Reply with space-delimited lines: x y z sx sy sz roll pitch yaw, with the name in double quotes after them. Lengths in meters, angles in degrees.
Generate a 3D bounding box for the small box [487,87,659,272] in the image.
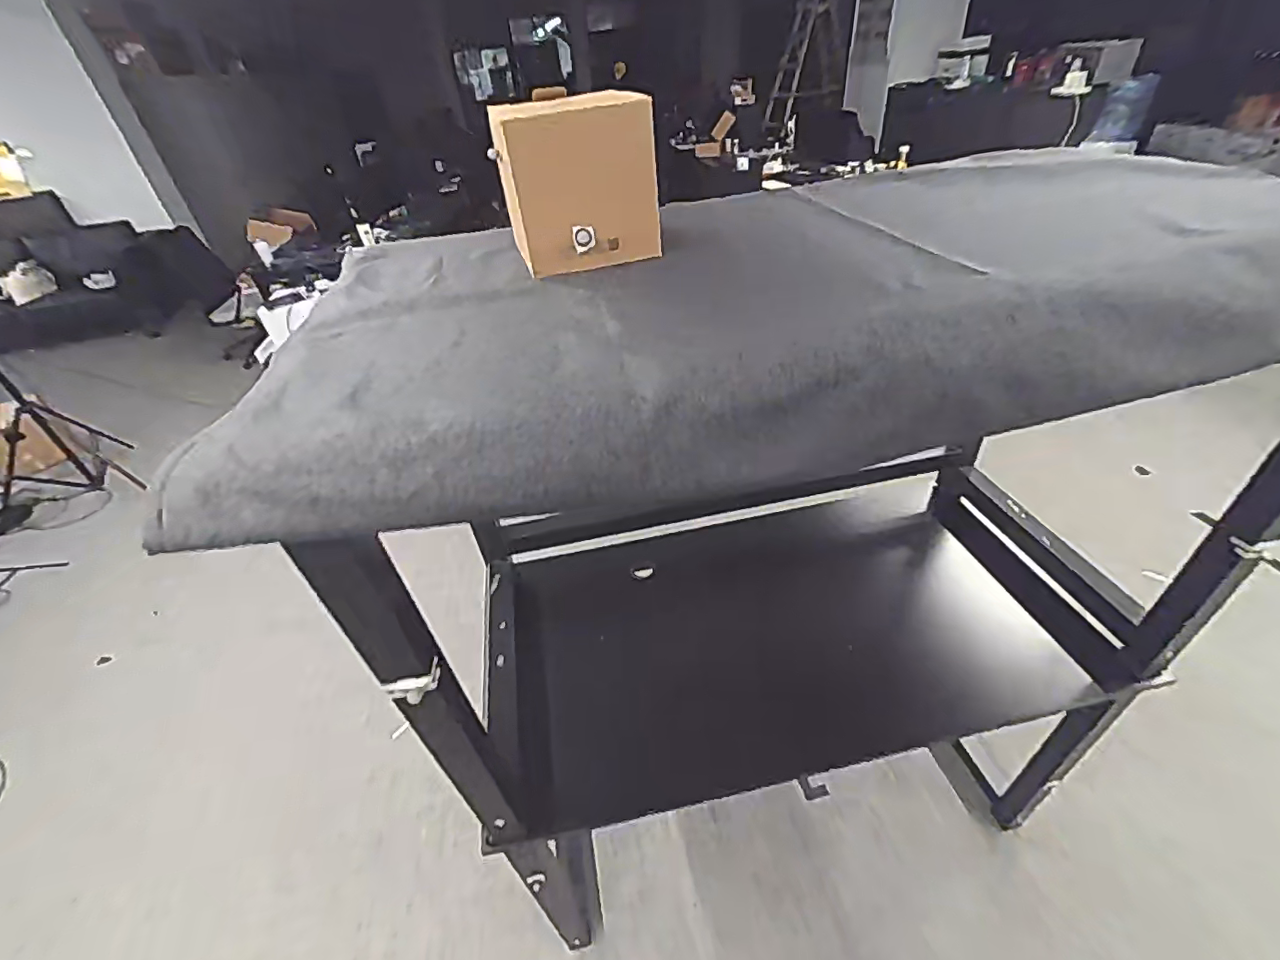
-0.082 -0.373 0.670 0.168 0.176 0.179 -15 39 -9 "small box"
